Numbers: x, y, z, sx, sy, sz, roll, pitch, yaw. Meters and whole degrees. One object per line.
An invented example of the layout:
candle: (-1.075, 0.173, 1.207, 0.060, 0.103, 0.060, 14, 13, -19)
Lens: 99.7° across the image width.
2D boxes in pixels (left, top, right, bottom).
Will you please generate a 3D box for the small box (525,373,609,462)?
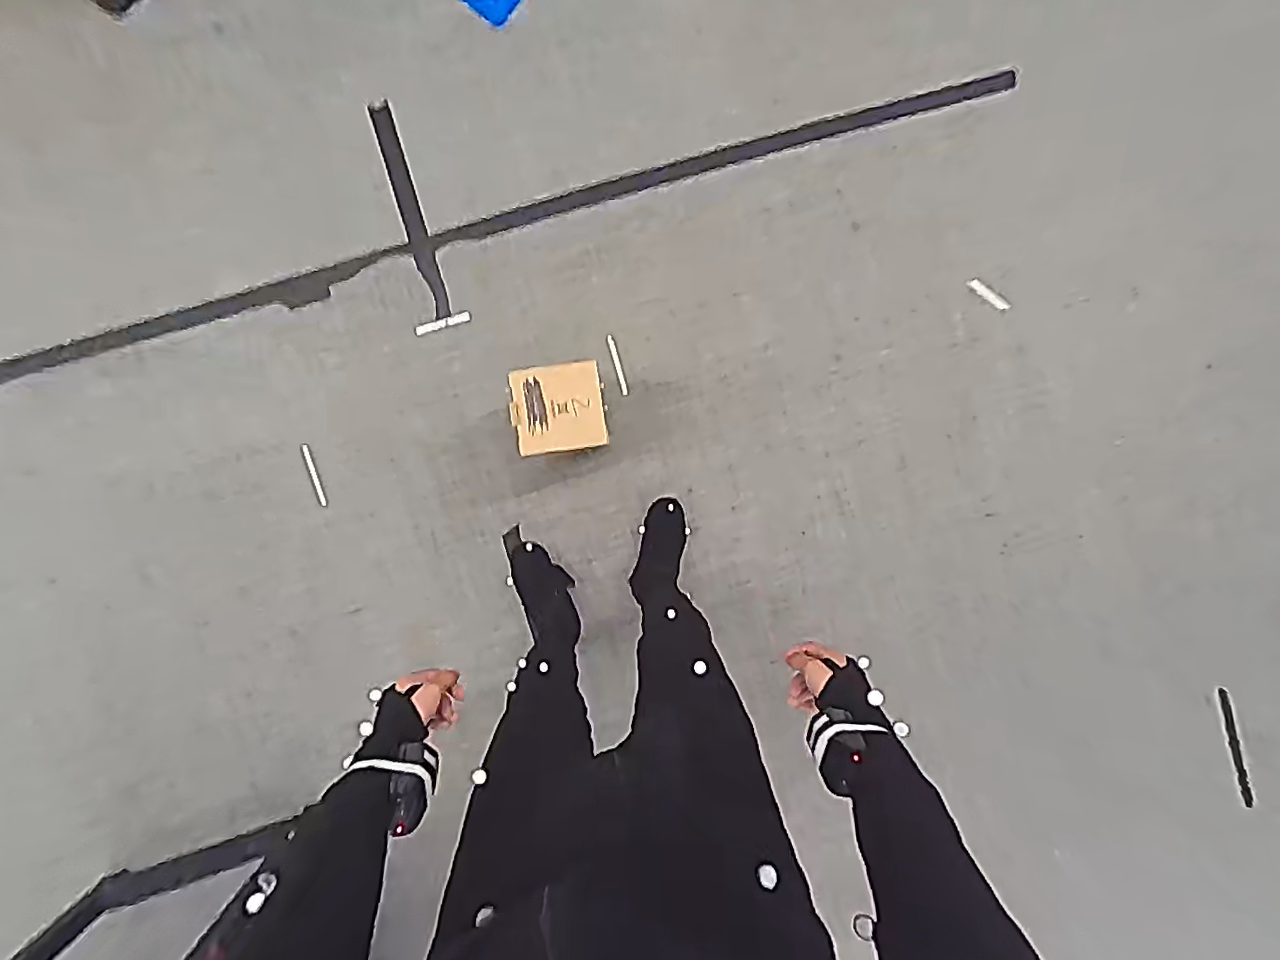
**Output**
small box: (-0.169, -0.147, 1.300, 0.168, 0.176, 0.179, -12, 94, -4)
